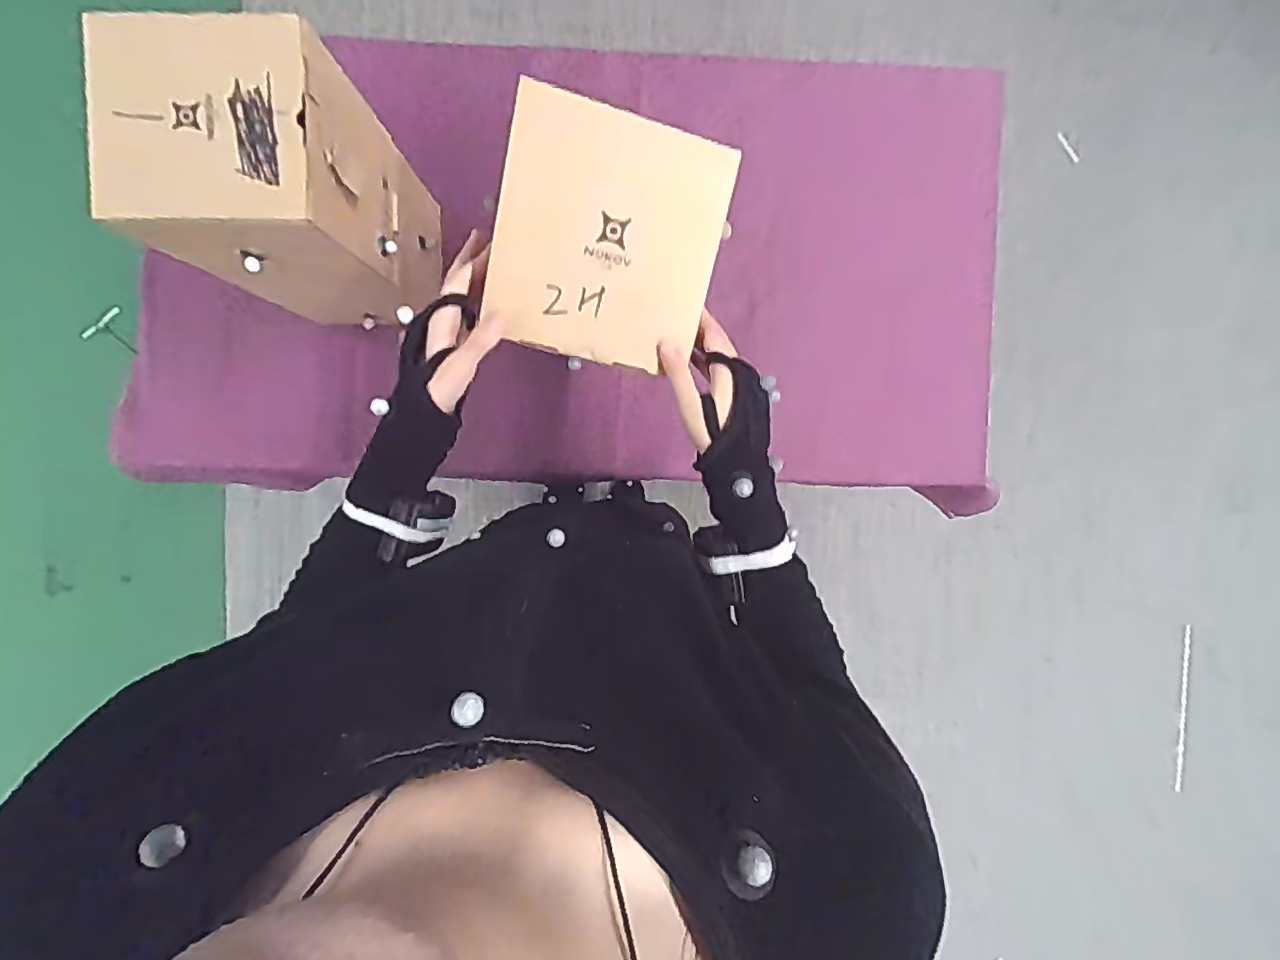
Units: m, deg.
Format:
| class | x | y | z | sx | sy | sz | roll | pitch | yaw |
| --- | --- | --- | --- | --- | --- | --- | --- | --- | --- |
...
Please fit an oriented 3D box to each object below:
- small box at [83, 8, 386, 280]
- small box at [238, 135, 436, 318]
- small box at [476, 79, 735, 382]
| class | x | y | z | sx | sy | sz | roll | pitch | yaw |
| --- | --- | --- | --- | --- | --- | --- | --- | --- | --- |
| small box | -0.362 | -0.302 | 0.521 | 0.179 | 0.176 | 0.168 | 0 | 93 | 0 |
| small box | -0.368 | -0.309 | 0.686 | 0.179 | 0.176 | 0.168 | -1 | 93 | -2 |
| small box | -0.039 | -0.201 | 0.483 | 0.168 | 0.176 | 0.179 | 12 | 105 | -12 |
